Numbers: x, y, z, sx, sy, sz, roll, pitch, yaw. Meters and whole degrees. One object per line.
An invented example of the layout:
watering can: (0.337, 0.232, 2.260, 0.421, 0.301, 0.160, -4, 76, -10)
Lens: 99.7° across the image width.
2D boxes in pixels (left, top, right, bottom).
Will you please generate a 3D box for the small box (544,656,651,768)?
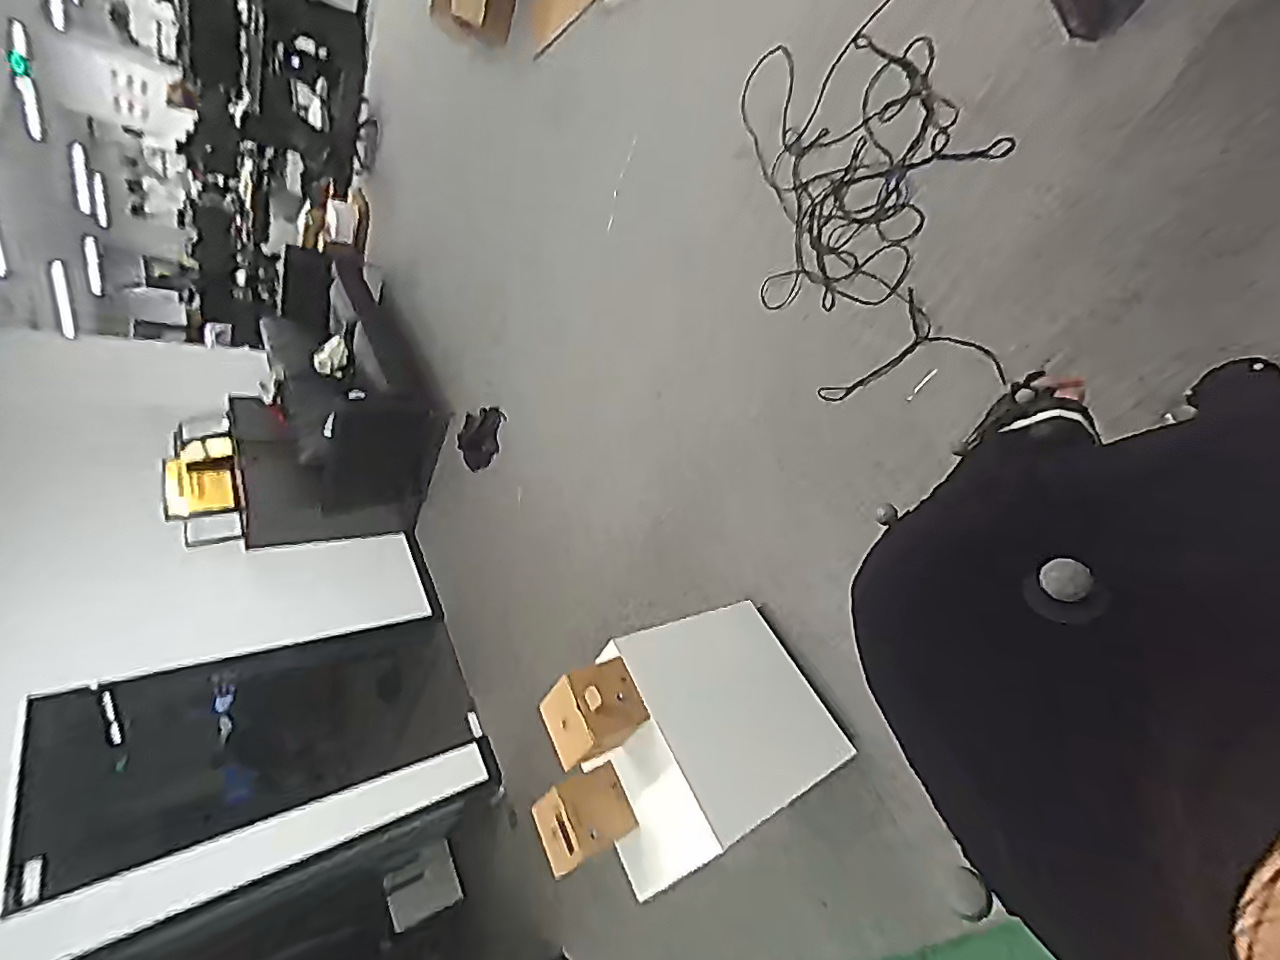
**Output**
small box: (-0.102, 0.552, 1.300, 0.168, 0.176, 0.179, 57, 132, 31)
